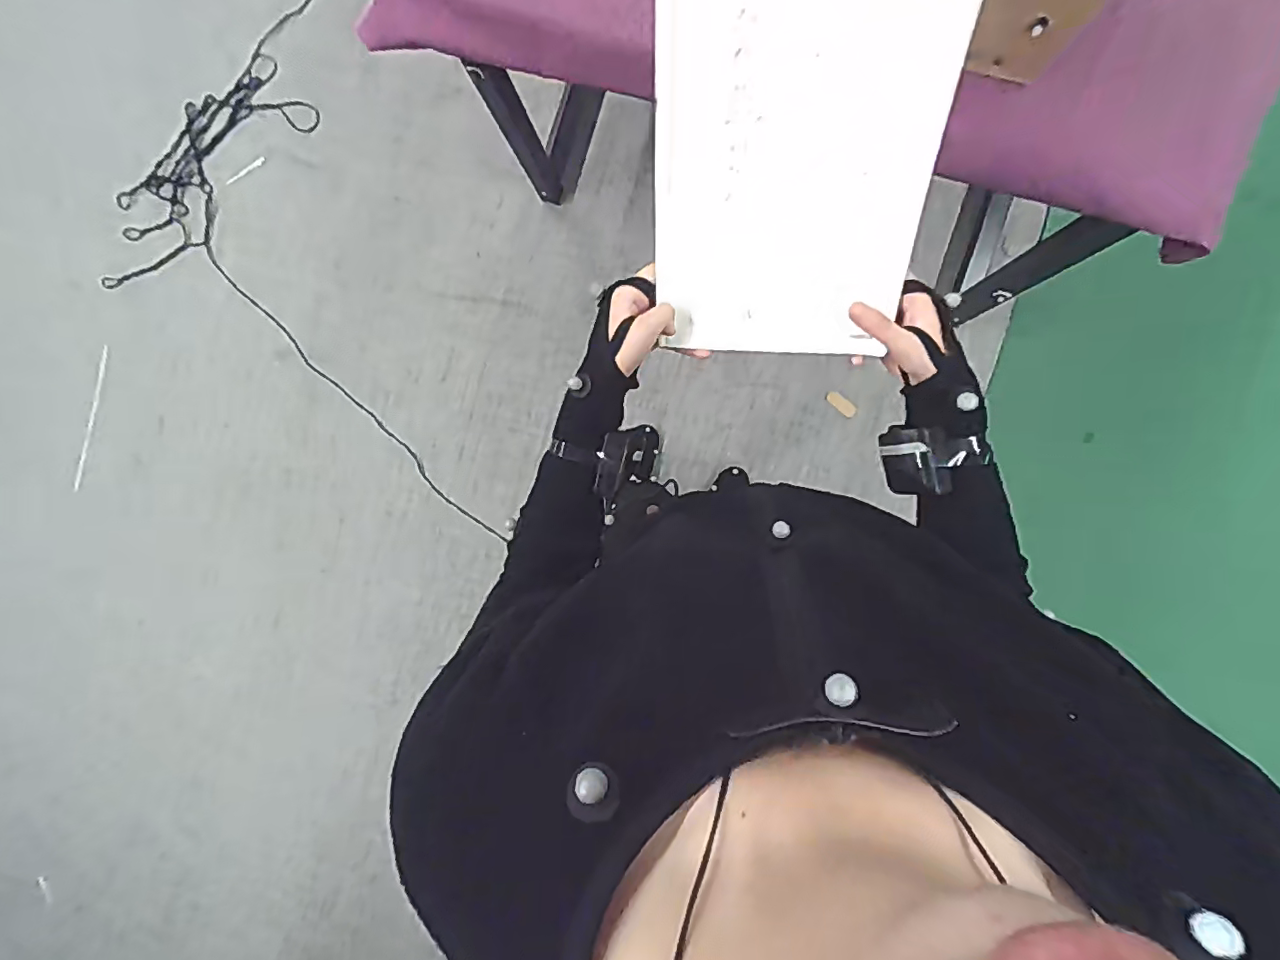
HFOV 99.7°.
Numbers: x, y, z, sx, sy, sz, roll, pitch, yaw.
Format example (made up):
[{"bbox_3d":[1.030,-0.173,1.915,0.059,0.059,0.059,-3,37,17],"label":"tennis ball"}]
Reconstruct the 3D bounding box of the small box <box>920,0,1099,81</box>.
[{"bbox_3d":[0.467,-0.632,0.646,0.168,0.176,0.179,19,92,4],"label":"small box"}]
